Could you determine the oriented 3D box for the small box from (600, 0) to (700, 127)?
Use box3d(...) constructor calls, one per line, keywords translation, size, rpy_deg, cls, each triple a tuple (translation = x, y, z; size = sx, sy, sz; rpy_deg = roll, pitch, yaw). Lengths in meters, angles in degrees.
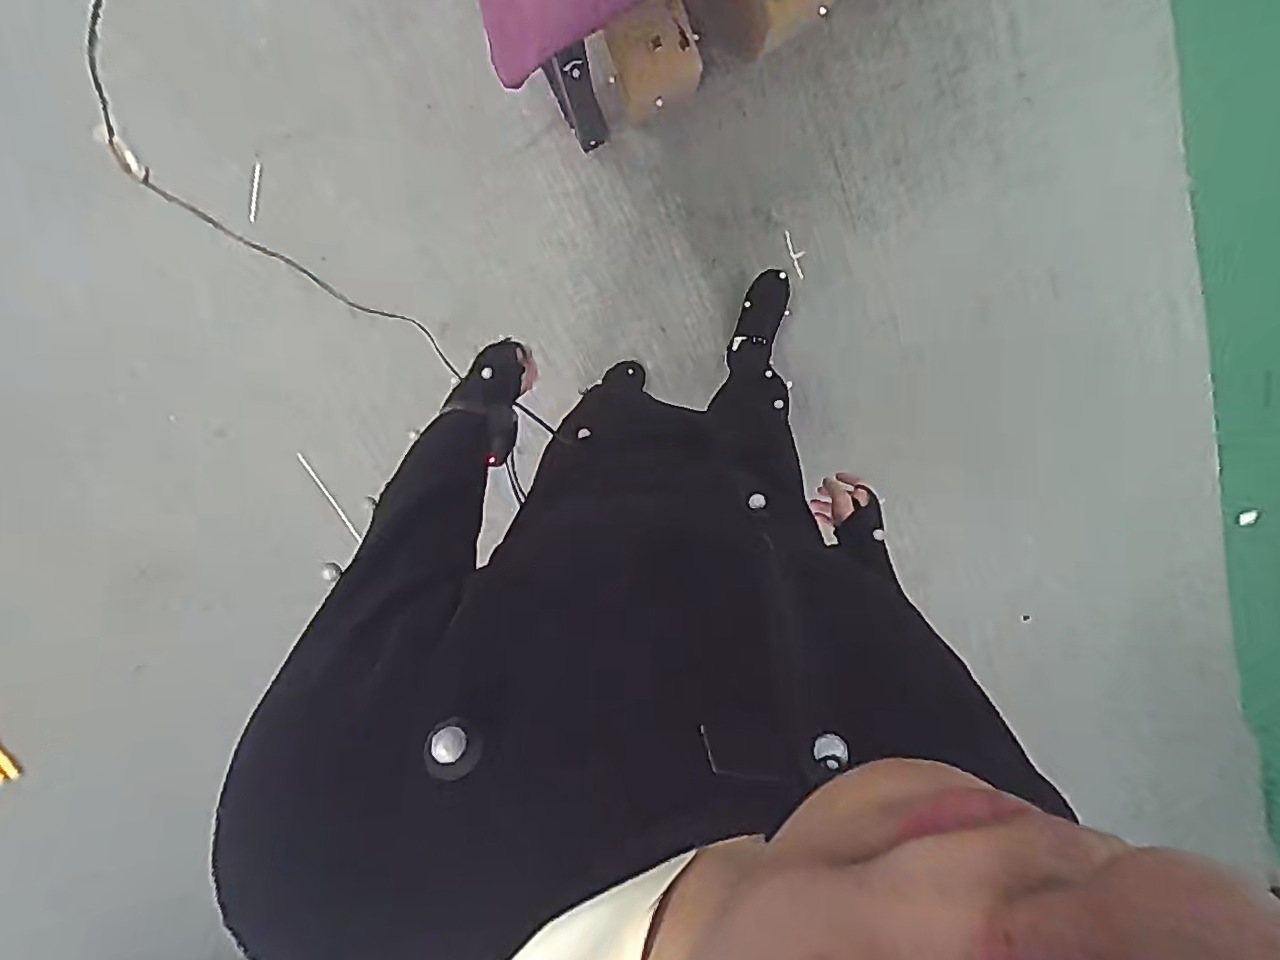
box3d(translation=(0.024, -0.945, 1.233), size=(0.179, 0.176, 0.168), rpy_deg=(-21, 107, 6), cls="small box")
